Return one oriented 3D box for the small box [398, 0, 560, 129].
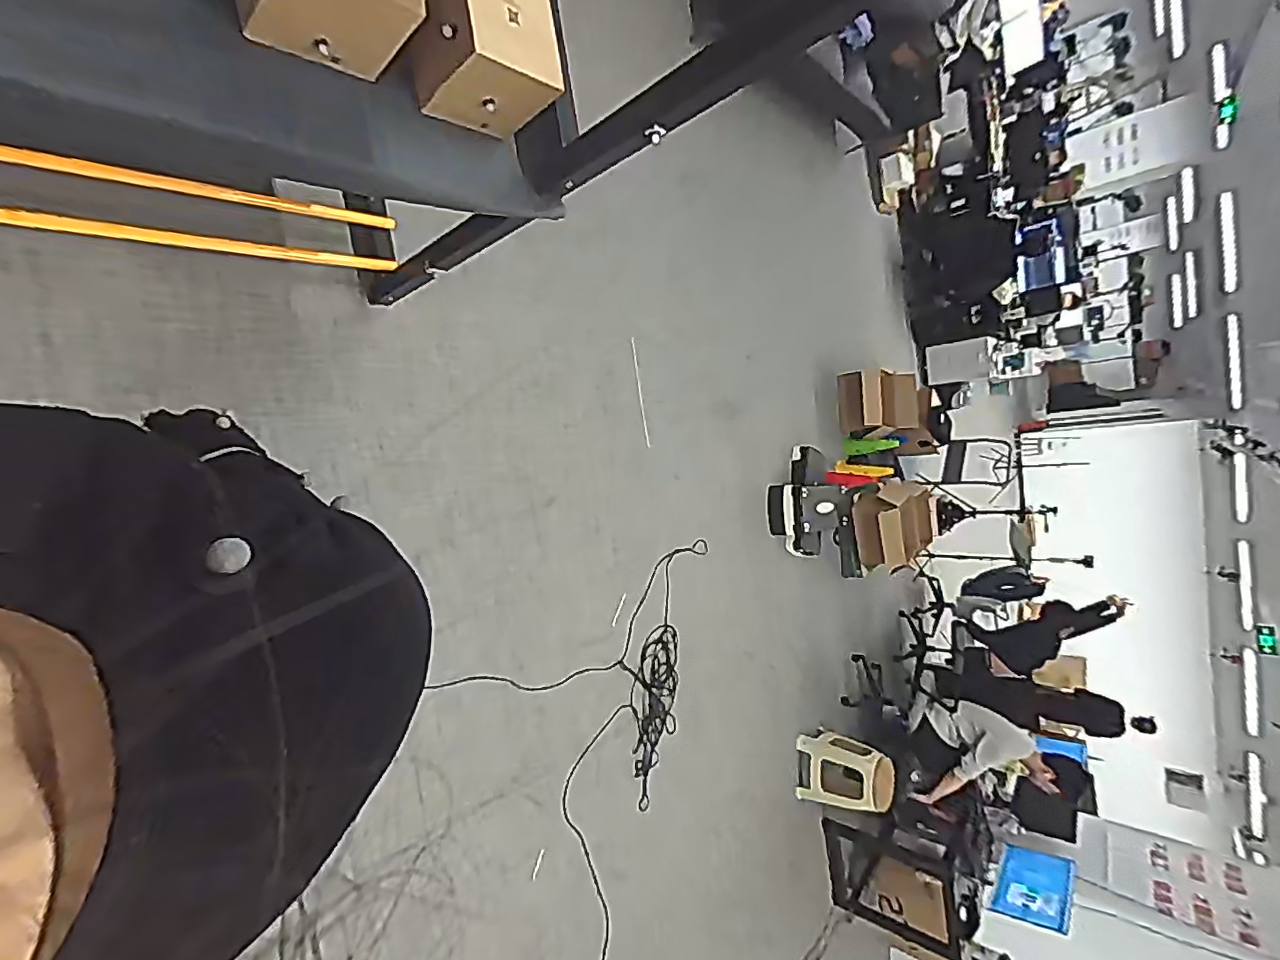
[{"bbox_3d":[-0.253,-0.695,0.849,0.168,0.176,0.179,-17,99,-48],"label":"small box"}]
